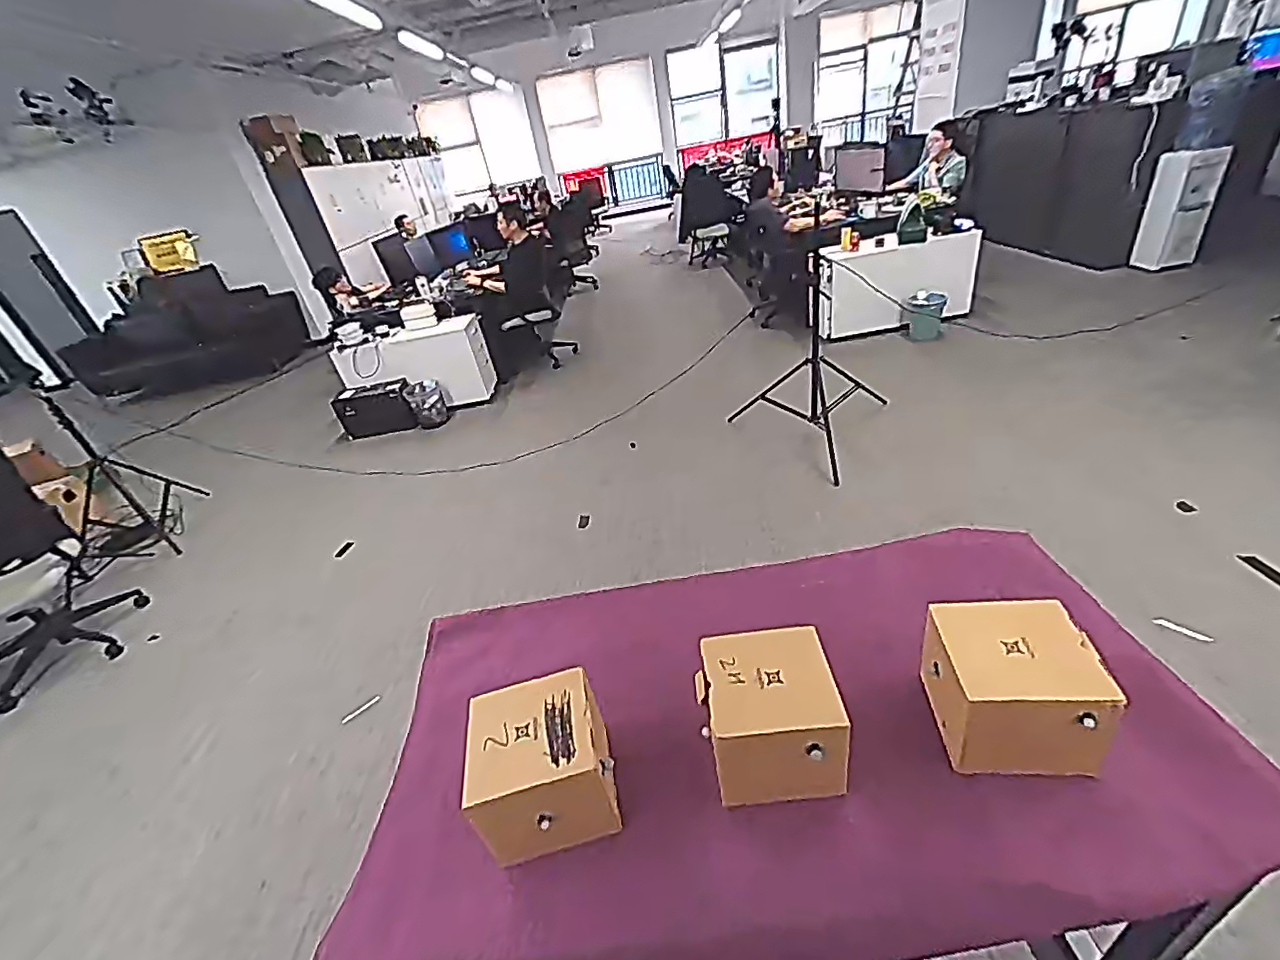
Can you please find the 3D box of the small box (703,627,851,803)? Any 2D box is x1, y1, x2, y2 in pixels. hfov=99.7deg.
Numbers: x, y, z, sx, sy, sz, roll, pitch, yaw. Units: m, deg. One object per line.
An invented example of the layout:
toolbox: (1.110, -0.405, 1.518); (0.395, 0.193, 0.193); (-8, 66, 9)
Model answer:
small box: (0.193, 0.342, 0.791); (0.179, 0.176, 0.168); (-9, 31, 5)

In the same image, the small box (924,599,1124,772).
small box: (0.518, 0.290, 0.765); (0.179, 0.176, 0.168); (-5, 33, 11)
